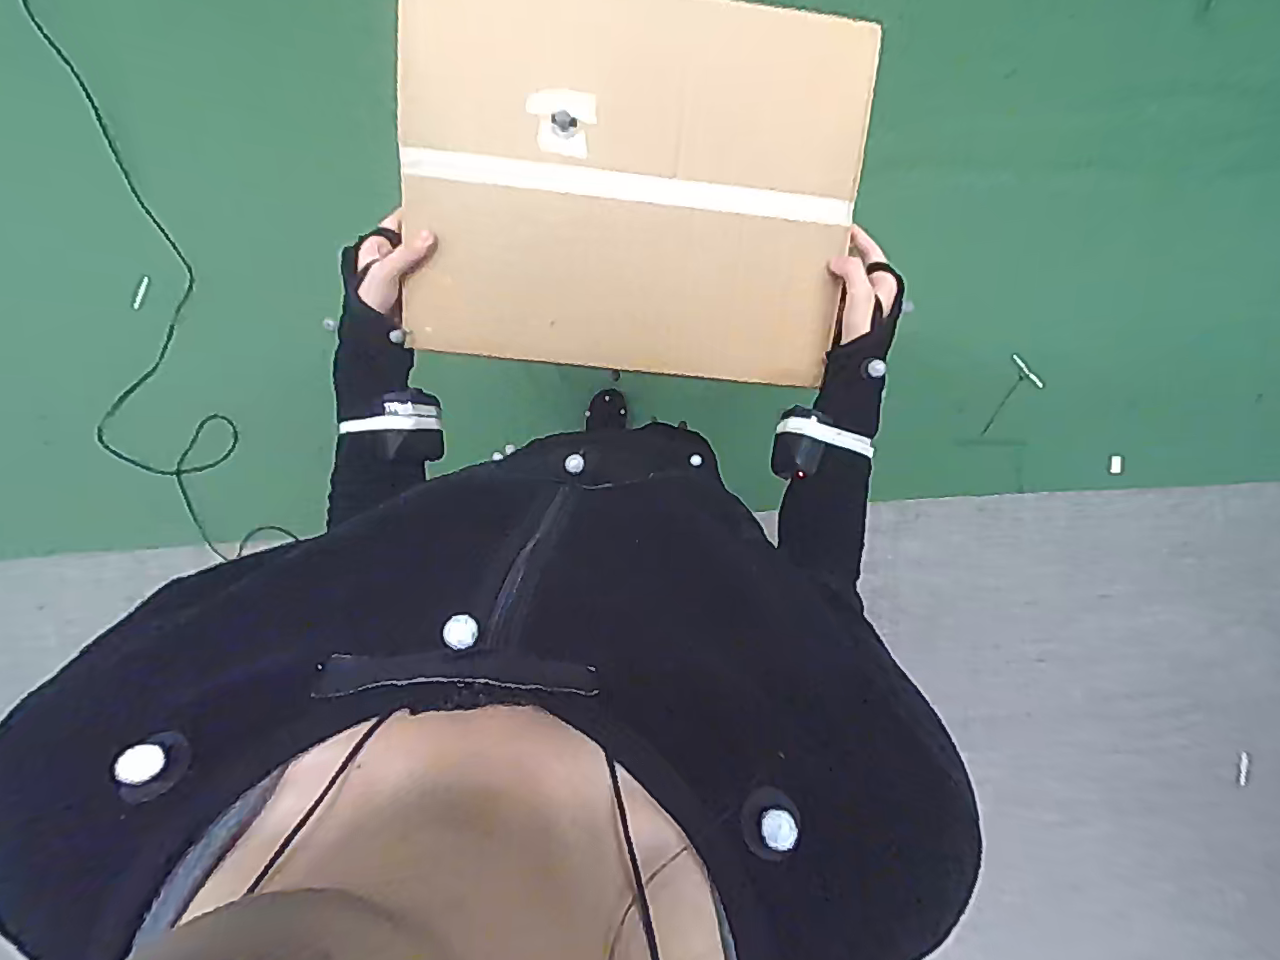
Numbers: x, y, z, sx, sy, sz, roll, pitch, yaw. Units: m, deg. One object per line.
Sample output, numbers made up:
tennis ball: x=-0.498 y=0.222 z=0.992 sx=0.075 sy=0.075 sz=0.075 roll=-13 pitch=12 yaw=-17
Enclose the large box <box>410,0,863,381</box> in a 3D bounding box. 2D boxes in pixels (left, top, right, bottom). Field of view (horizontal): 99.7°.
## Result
large box: x=-0.015 y=-0.297 z=0.645 sx=0.408 sy=0.320 sz=0.320 roll=5 pitch=102 yaw=-4
